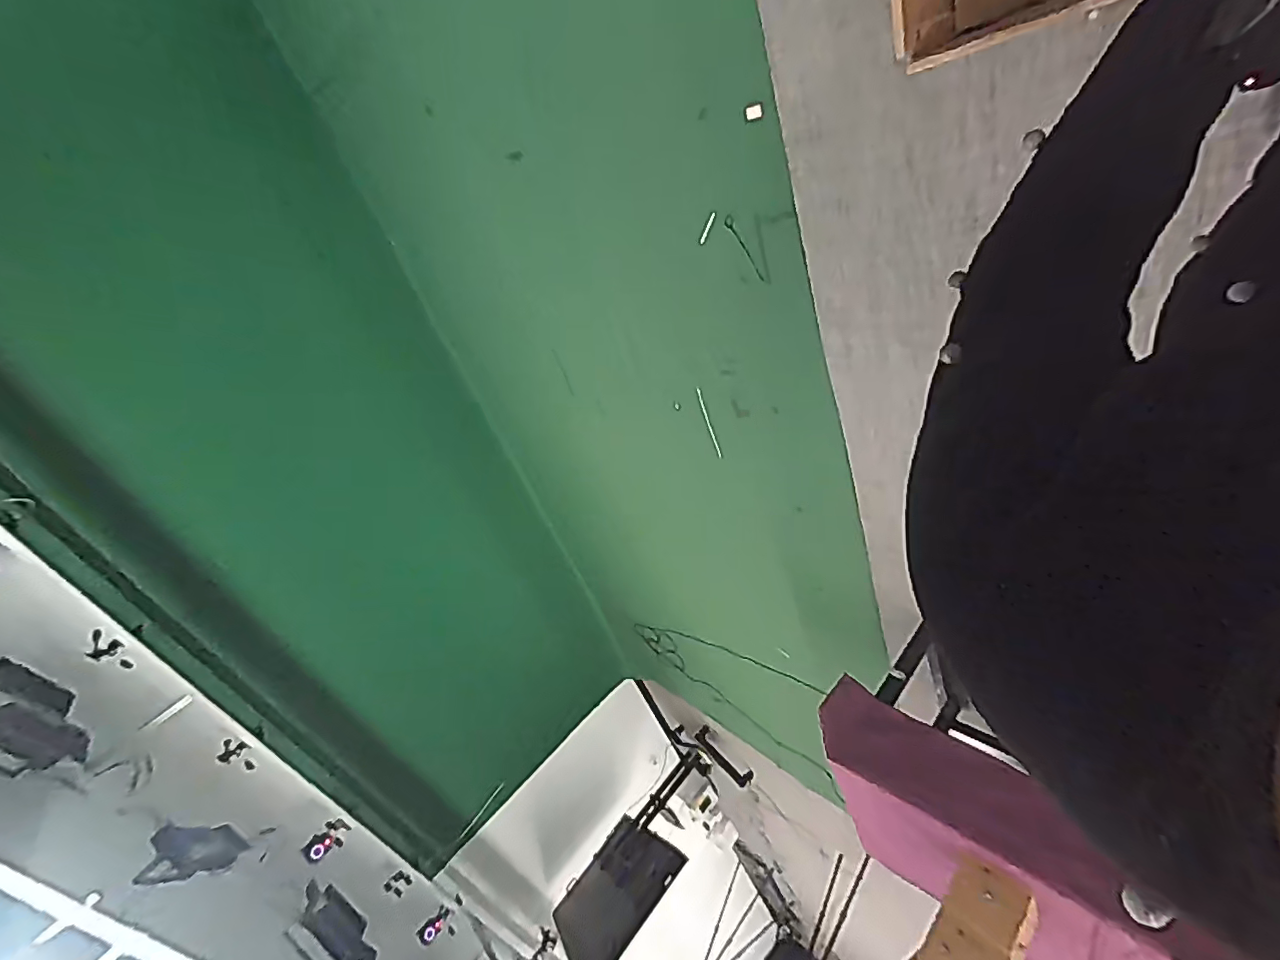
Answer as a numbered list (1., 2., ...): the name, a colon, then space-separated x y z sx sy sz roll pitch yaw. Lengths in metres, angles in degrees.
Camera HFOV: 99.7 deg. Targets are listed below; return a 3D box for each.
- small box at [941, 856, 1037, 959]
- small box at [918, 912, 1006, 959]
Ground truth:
1. small box: 0.924 1.152 1.430 0.168 0.176 0.179 14 136 51
2. small box: 0.813 1.247 1.359 0.168 0.176 0.179 16 138 49
